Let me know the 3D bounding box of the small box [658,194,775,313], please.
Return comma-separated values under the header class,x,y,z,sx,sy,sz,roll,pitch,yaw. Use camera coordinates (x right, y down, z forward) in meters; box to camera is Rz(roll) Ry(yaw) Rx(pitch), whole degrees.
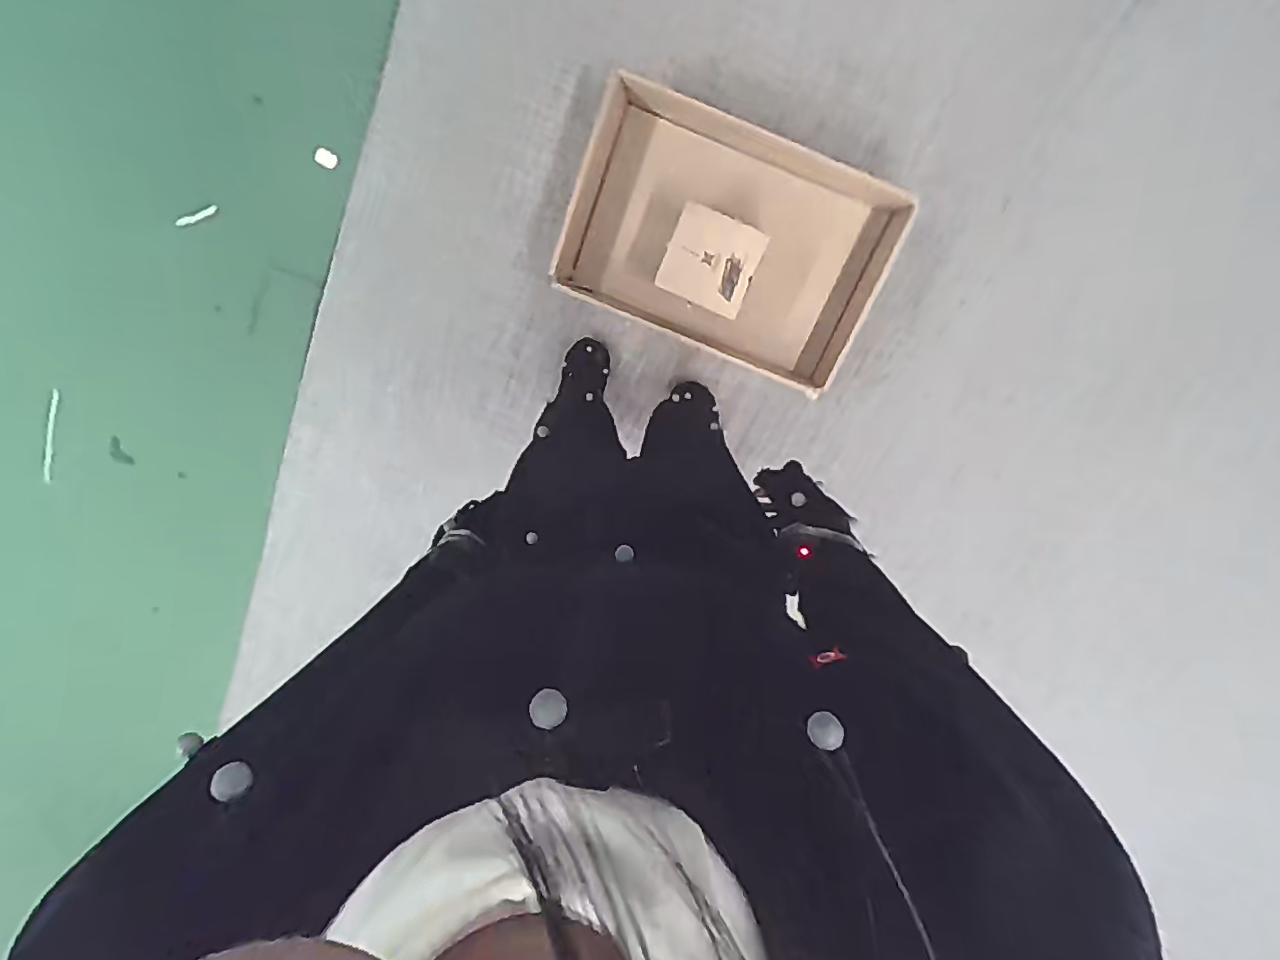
class,x,y,z,sx,sy,sz,roll,pitch,yaw
small box,0.156,-0.458,1.112,0.179,0.176,0.168,25,109,0
